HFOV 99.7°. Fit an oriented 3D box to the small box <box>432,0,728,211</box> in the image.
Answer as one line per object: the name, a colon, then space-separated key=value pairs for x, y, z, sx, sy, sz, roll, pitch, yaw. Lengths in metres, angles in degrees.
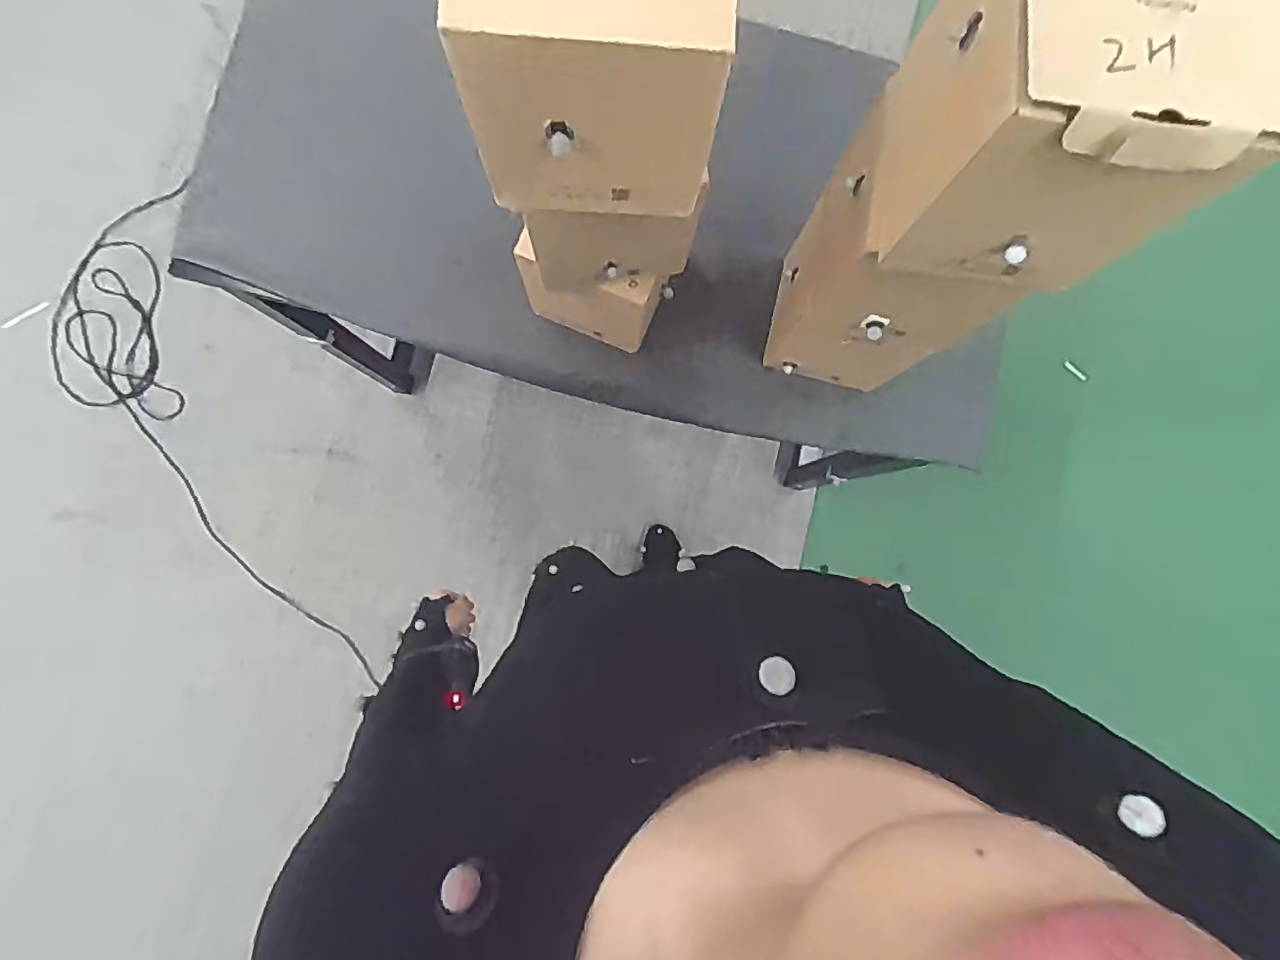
small box: x=-0.033 y=-0.317 z=0.381 sx=0.168 sy=0.176 sz=0.179 roll=1 pitch=85 yaw=-3

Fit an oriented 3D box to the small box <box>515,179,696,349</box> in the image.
small box: x=-0.044 y=-0.302 z=0.708 sx=0.168 sy=0.176 sz=0.179 roll=22 pitch=82 yaw=0

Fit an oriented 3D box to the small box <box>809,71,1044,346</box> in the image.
small box: x=0.287 y=-0.261 z=0.557 sx=0.168 sy=0.176 sz=0.179 roll=9 pitch=84 yaw=0

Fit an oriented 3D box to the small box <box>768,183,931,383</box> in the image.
small box: x=0.280 y=-0.246 z=0.718 sx=0.168 sy=0.176 sz=0.179 roll=14 pitch=82 yaw=-1

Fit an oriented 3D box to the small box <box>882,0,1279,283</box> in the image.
small box: x=0.295 y=-0.272 z=0.391 sx=0.168 sy=0.176 sz=0.179 roll=6 pitch=83 yaw=0
